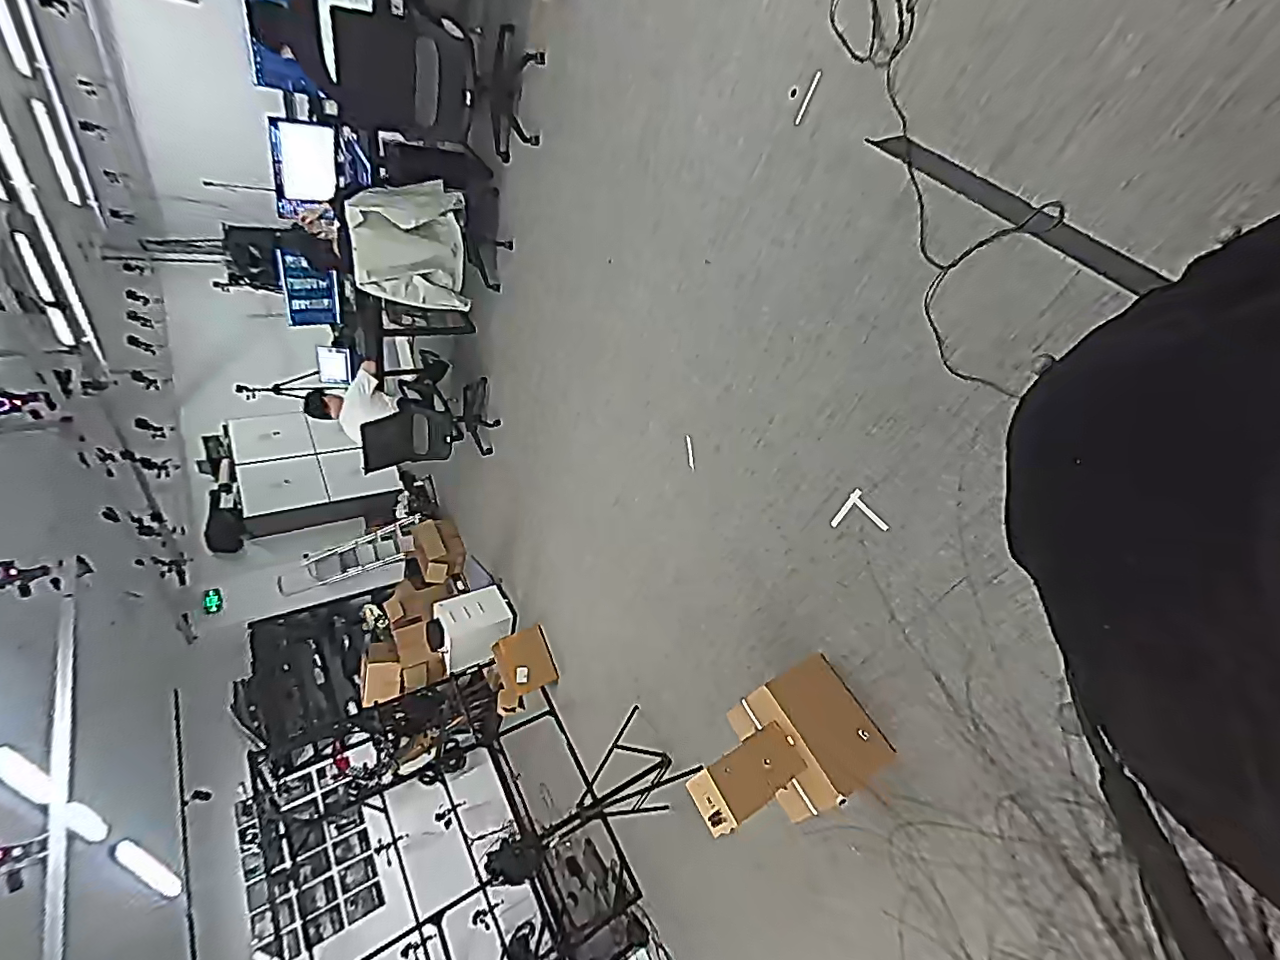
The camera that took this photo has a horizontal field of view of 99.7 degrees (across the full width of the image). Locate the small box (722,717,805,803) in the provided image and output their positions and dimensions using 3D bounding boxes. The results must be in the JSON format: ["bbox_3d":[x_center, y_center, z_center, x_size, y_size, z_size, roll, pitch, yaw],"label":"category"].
[{"bbox_3d":[0.413,0.930,1.805,0.179,0.176,0.168,55,139,31],"label":"small box"}]
